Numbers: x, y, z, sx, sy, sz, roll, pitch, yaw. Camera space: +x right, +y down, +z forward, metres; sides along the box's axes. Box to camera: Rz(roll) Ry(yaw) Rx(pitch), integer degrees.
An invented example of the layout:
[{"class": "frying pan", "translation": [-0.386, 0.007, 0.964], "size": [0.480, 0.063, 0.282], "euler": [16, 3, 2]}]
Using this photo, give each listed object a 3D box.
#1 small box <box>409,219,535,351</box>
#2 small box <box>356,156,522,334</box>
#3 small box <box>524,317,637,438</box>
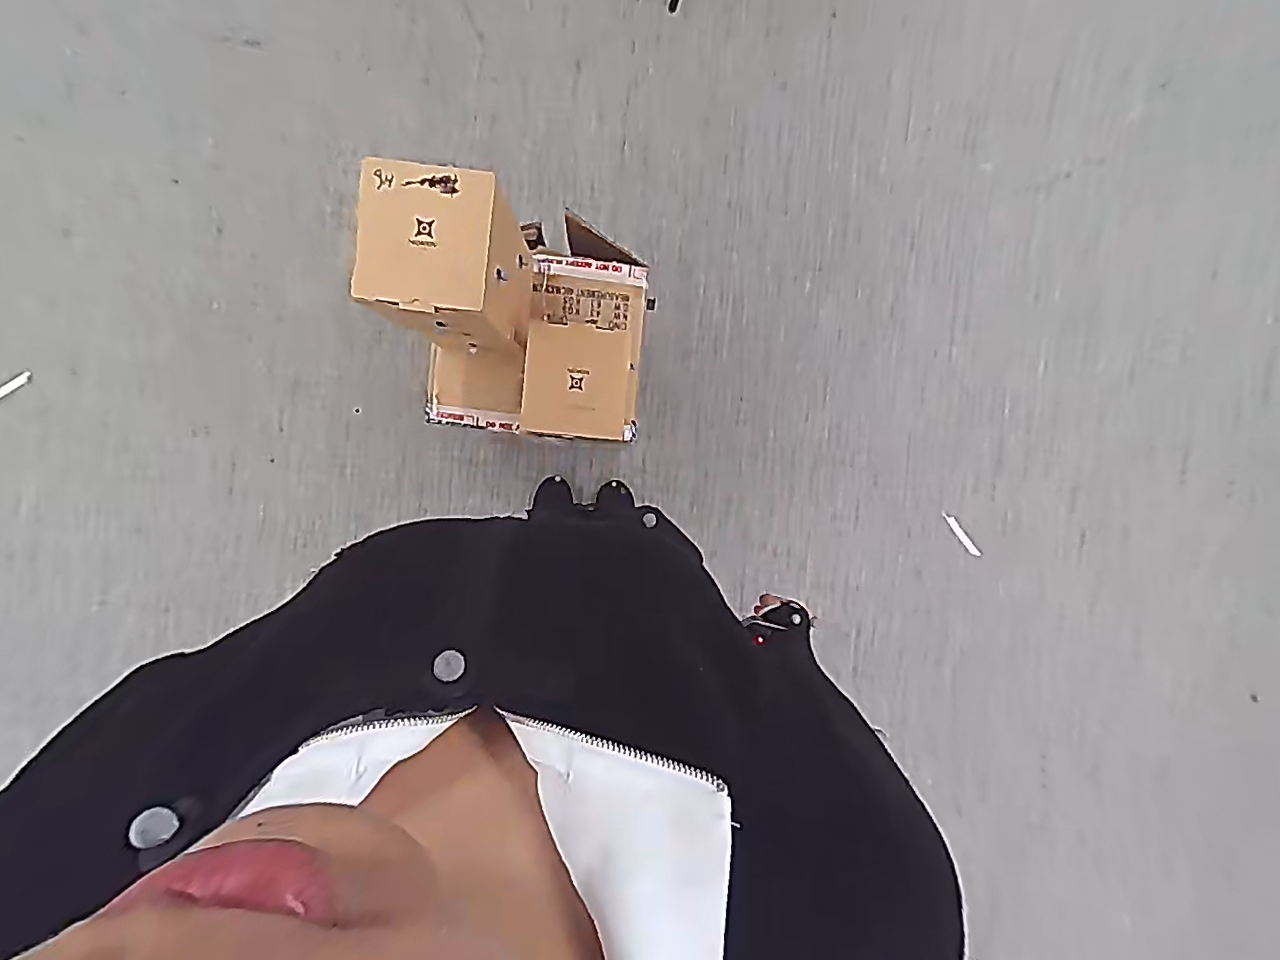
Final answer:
[{"class": "small box", "translation": [-0.275, -0.327, 0.913], "size": [0.168, 0.176, 0.179], "euler": [5, 93, -1]}, {"class": "small box", "translation": [-0.266, -0.309, 0.749], "size": [0.168, 0.176, 0.179], "euler": [6, 93, -2]}, {"class": "small box", "translation": [-0.098, -0.167, 0.931], "size": [0.168, 0.176, 0.179], "euler": [5, 94, -2]}]
